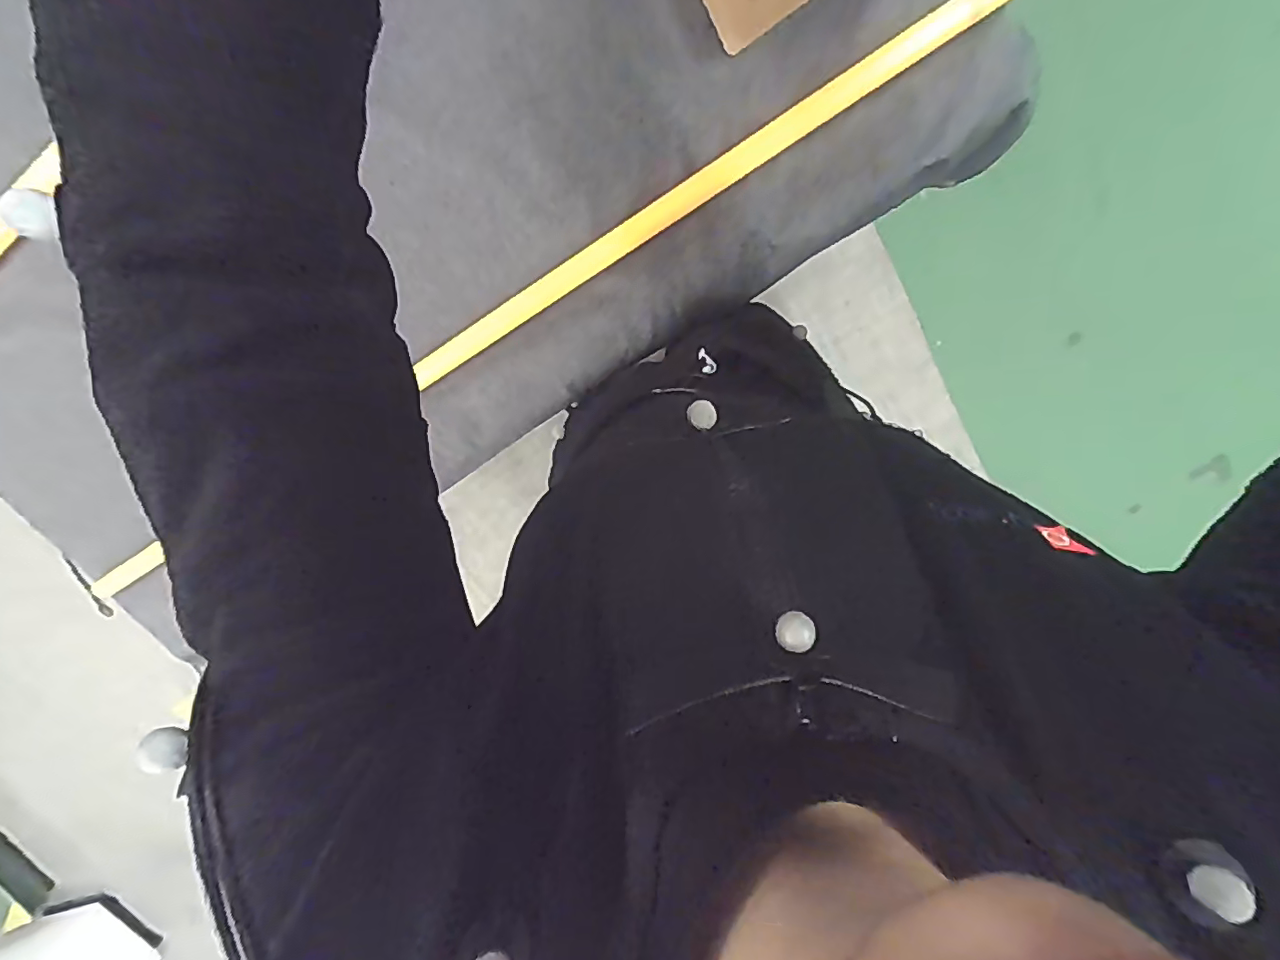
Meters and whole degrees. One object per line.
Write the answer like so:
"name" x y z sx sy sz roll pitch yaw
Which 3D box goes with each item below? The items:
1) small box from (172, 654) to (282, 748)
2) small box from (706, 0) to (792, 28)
"small box" -1.274 0.683 1.683 0.168 0.176 0.179 -34 105 15
"small box" 0.097 -0.451 0.356 0.168 0.176 0.179 -29 106 15
